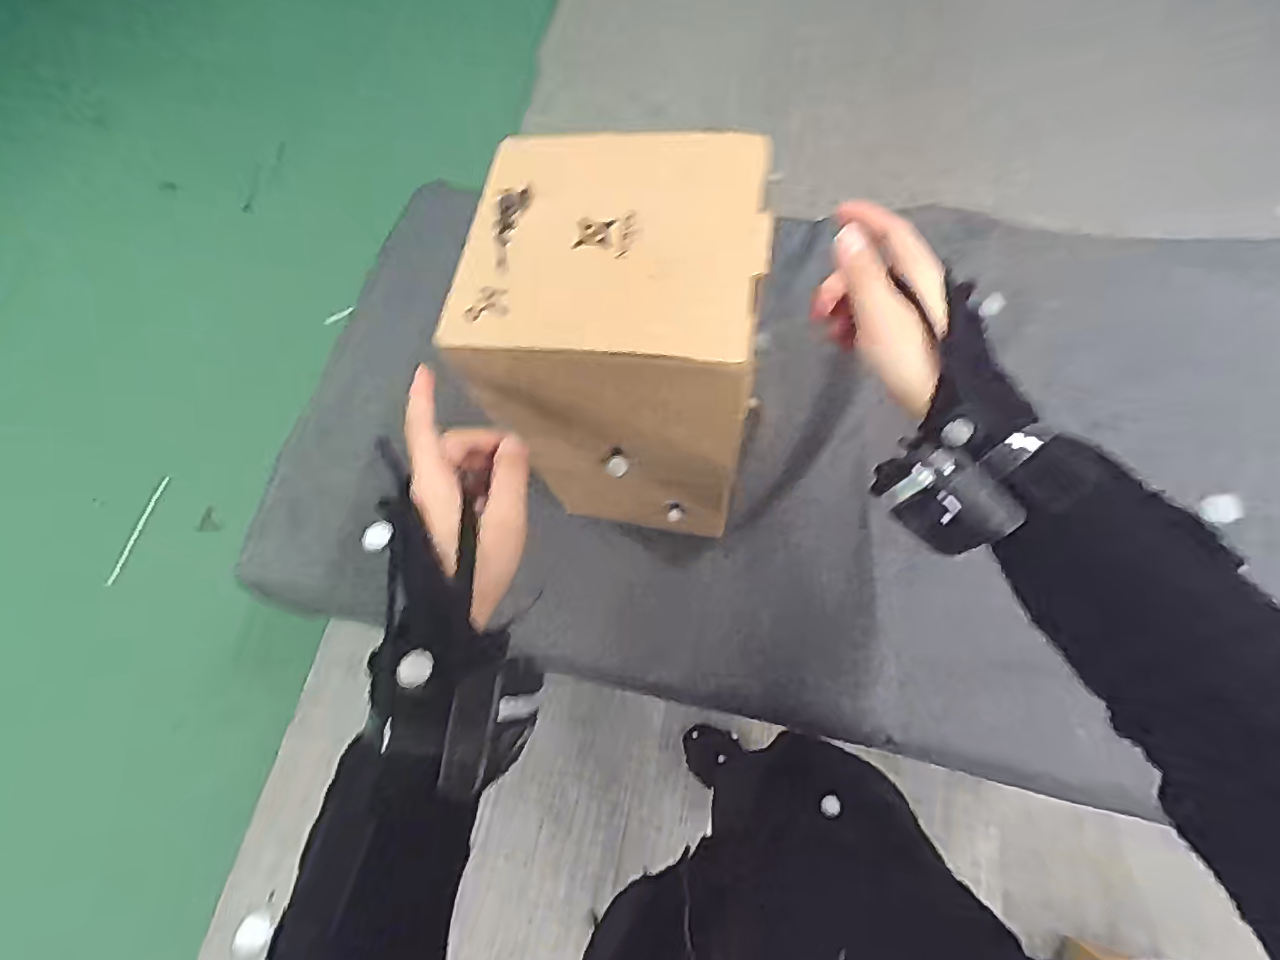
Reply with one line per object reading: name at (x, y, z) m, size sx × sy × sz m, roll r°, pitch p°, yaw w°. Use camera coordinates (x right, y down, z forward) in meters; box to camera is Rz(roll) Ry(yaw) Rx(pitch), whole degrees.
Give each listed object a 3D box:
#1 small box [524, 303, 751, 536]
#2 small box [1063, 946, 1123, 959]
small box at (0.009, -0.051, 0.549) m, size 0.179 × 0.176 × 0.168 m, roll 8°, pitch 68°, yaw 10°
small box at (0.822, 0.893, 0.861) m, size 0.179 × 0.176 × 0.168 m, roll 10°, pitch 69°, yaw 11°
